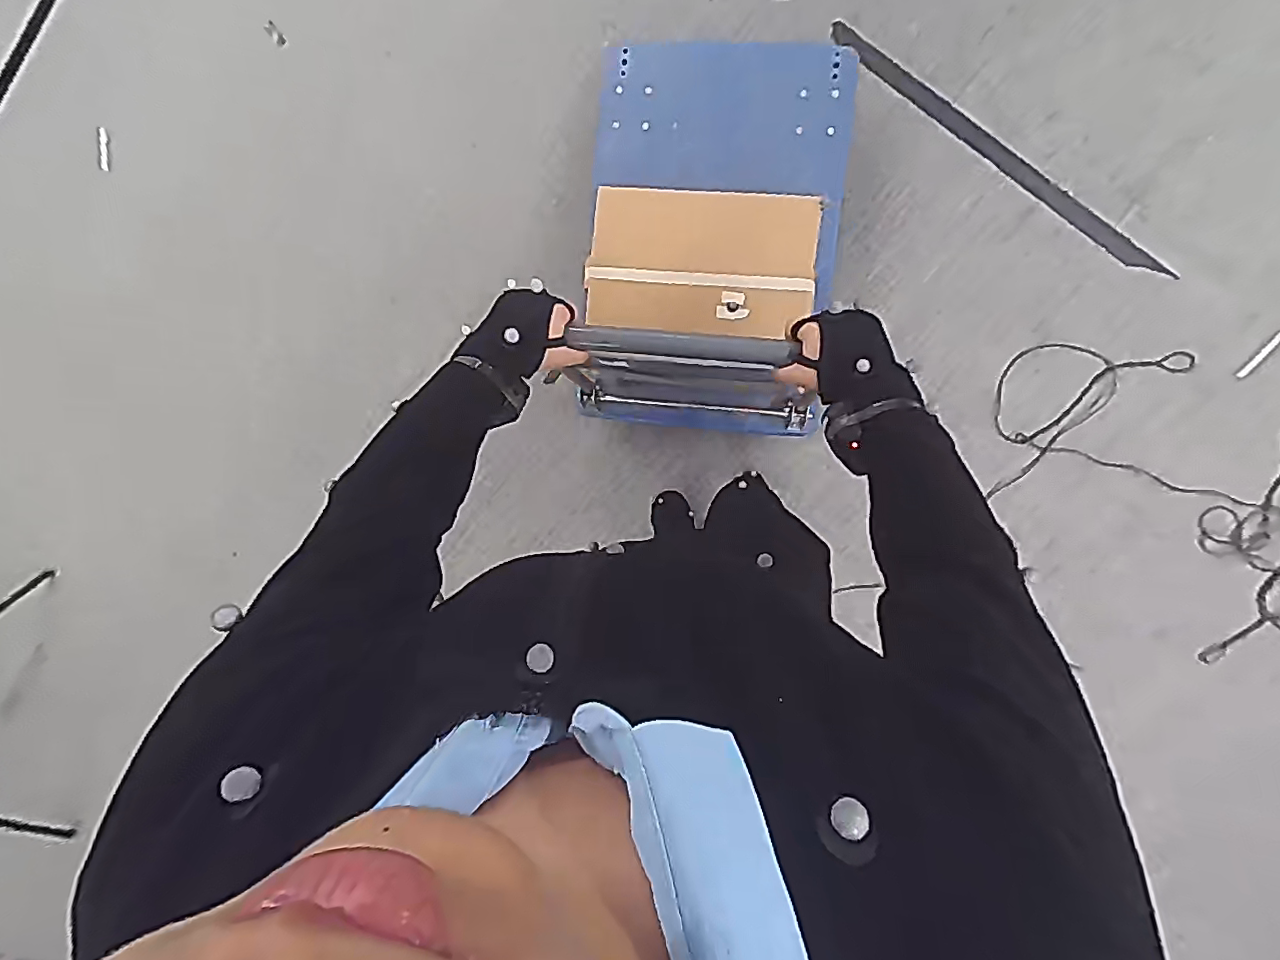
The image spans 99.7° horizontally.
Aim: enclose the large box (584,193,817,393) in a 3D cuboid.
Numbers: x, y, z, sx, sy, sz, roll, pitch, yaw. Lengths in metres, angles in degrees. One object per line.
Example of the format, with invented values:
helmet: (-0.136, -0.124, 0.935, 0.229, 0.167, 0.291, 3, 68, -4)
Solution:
large box: (0.117, -0.364, 1.128, 0.408, 0.320, 0.320, 6, 94, 6)
